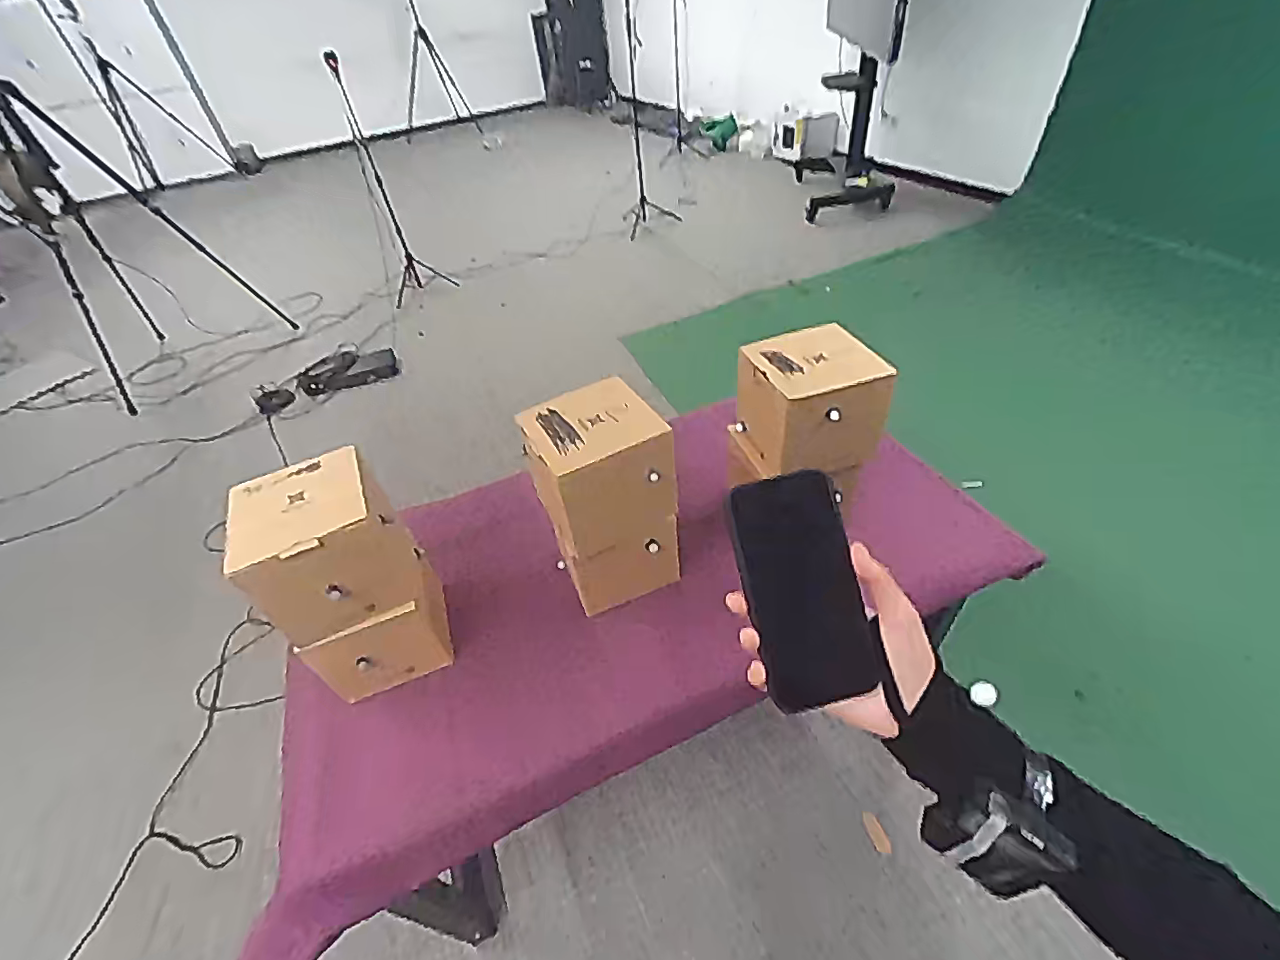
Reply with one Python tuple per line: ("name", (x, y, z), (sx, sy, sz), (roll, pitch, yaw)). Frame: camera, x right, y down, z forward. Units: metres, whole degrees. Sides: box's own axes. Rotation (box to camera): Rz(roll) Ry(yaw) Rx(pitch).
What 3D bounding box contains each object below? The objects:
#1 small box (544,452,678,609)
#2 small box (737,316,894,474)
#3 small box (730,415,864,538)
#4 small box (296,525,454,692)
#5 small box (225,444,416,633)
("small box", (-0.045, 0.086, 0.922), (0.179, 0.176, 0.168), (-21, 45, -12))
("small box", (0.268, -0.133, 0.863), (0.179, 0.176, 0.168), (-16, 44, -8))
("small box", (0.272, -0.022, 0.984), (0.179, 0.176, 0.168), (-16, 44, -7))
("small box", (-0.410, 0.209, 0.856), (0.168, 0.176, 0.179), (-20, 45, -12))
("small box", (-0.432, 0.086, 0.748), (0.168, 0.176, 0.179), (-24, 46, -16))
